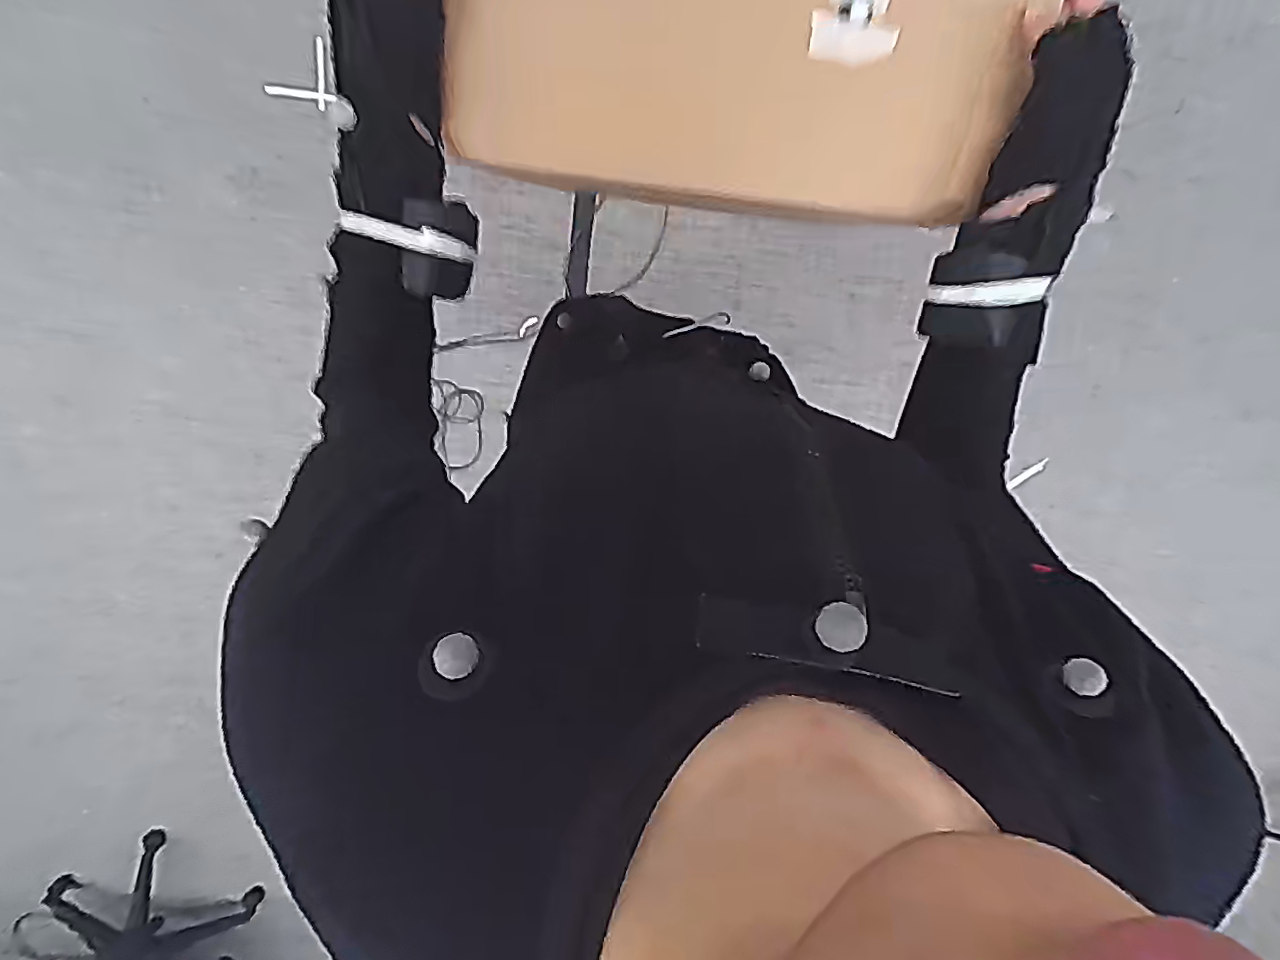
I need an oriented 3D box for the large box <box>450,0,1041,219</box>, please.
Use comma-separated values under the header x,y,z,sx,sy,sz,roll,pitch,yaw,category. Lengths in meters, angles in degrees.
x,y,z,sx,sy,sz,roll,pitch,yaw,category
0.069,-0.423,0.476,0.408,0.320,0.320,5,116,-6,large box
